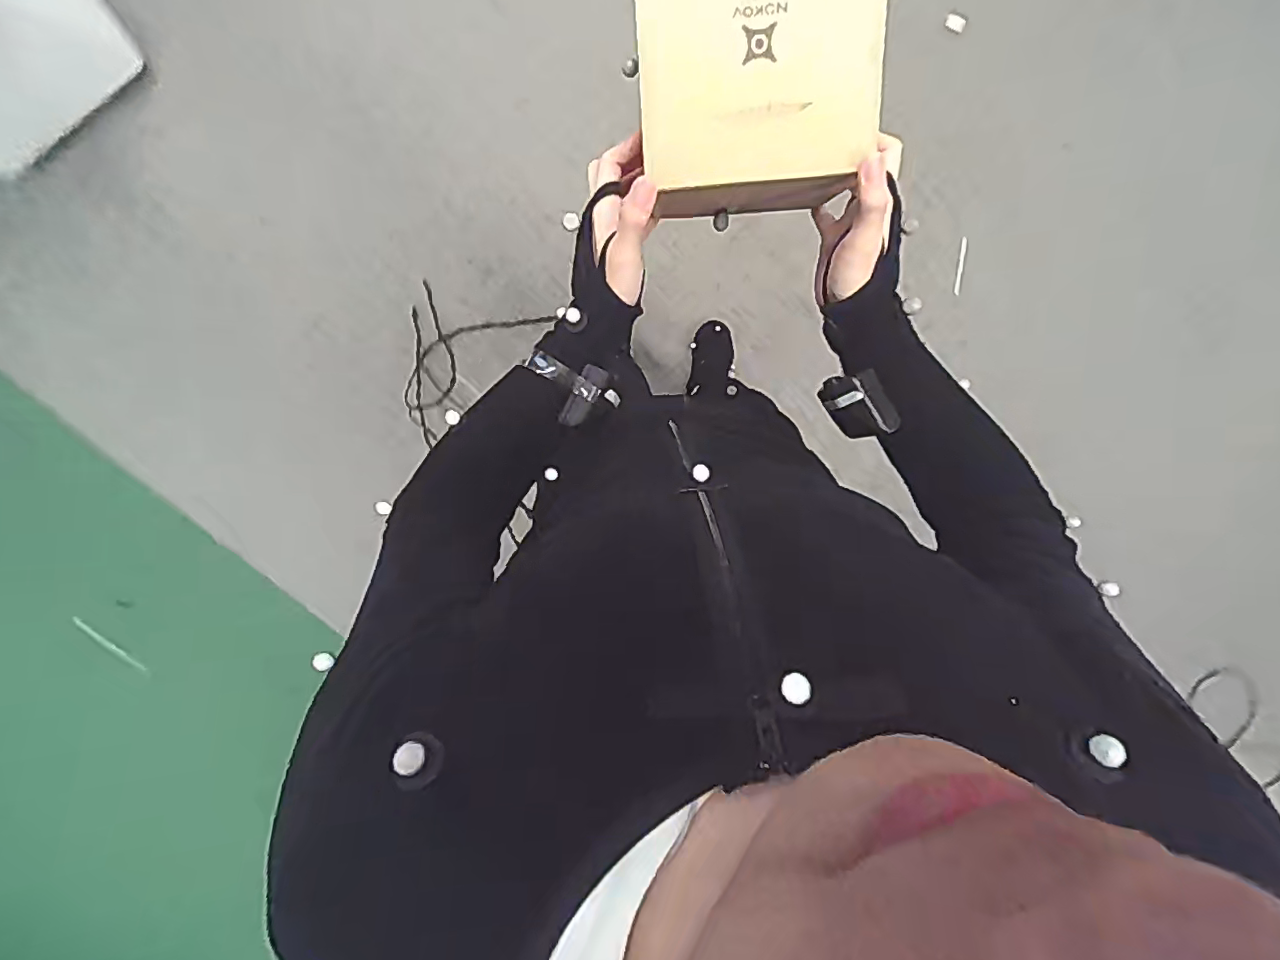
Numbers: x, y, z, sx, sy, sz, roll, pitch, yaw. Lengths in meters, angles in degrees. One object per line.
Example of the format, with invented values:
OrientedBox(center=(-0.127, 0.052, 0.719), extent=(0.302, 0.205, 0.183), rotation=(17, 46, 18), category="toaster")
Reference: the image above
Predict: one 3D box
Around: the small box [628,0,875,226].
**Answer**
OrientedBox(center=(0.079, -0.320, 0.441), extent=(0.168, 0.176, 0.179), rotation=(-3, 108, 6), category="small box")
